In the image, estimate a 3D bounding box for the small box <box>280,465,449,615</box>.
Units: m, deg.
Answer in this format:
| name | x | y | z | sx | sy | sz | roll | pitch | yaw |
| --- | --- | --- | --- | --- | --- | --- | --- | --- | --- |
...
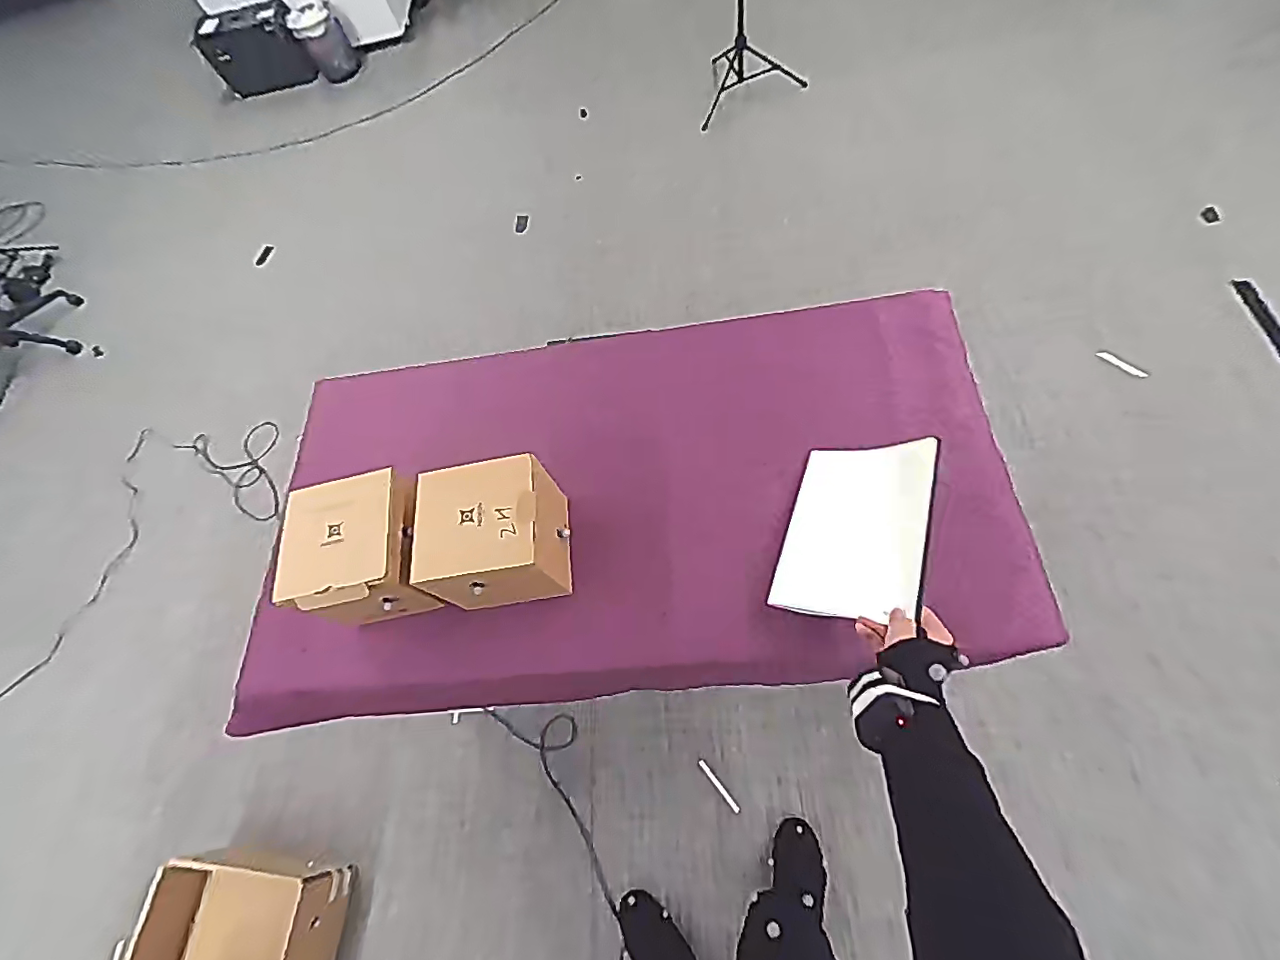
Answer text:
| name | x | y | z | sx | sy | sz | roll | pitch | yaw |
| --- | --- | --- | --- | --- | --- | --- | --- | --- | --- |
| small box | -0.411 | 0.103 | 0.838 | 0.168 | 0.176 | 0.179 | -12 | 63 | 4 |
